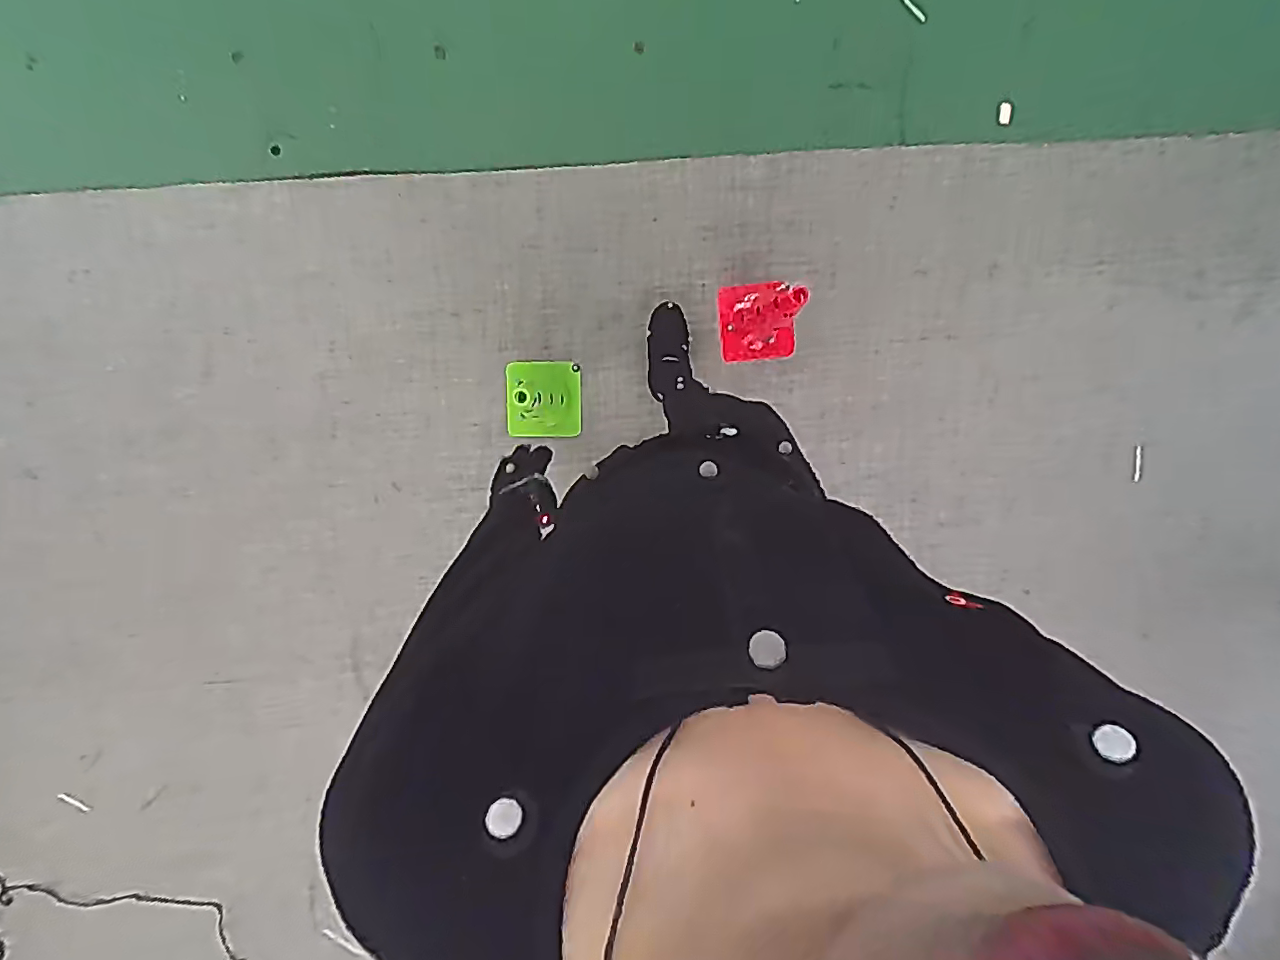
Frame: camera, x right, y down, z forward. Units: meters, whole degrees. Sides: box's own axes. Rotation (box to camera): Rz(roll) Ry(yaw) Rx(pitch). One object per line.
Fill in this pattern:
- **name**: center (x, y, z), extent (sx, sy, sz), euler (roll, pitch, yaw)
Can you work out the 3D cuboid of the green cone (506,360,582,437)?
- **green cone**: center (-0.253, -0.193, 1.283), extent (0.200, 0.368, 0.202), euler (-1, 99, -1)
